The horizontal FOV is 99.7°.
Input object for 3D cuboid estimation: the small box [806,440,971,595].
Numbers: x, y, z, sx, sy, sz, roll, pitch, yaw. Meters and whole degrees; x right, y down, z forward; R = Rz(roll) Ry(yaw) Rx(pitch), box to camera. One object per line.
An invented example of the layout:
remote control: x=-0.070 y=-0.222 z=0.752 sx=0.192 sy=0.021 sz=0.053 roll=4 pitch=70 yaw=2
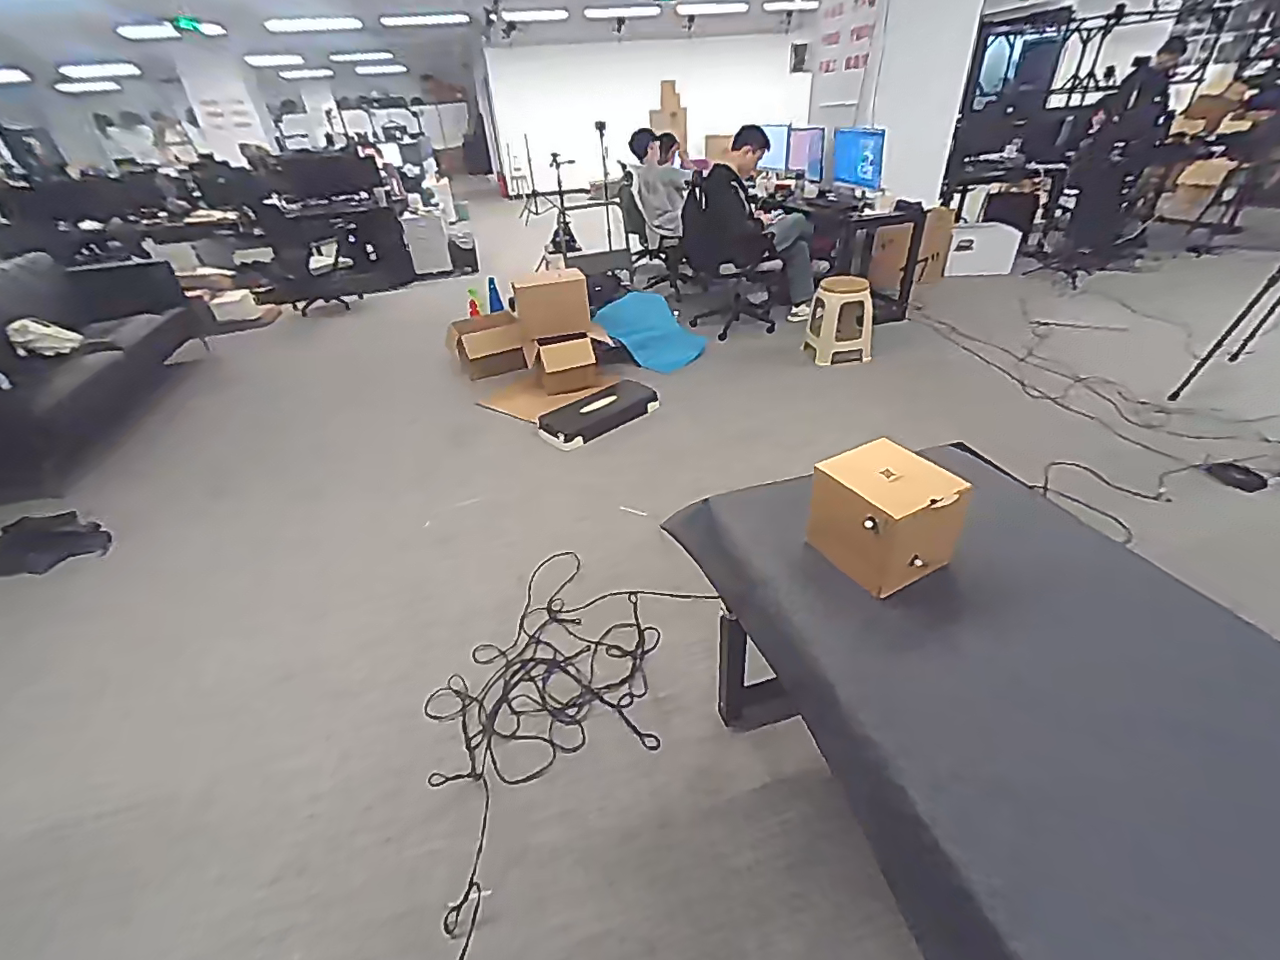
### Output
small box: x=0.403 y=0.059 z=0.910 sx=0.168 sy=0.176 sz=0.179 roll=-19 pitch=37 yaw=-22
